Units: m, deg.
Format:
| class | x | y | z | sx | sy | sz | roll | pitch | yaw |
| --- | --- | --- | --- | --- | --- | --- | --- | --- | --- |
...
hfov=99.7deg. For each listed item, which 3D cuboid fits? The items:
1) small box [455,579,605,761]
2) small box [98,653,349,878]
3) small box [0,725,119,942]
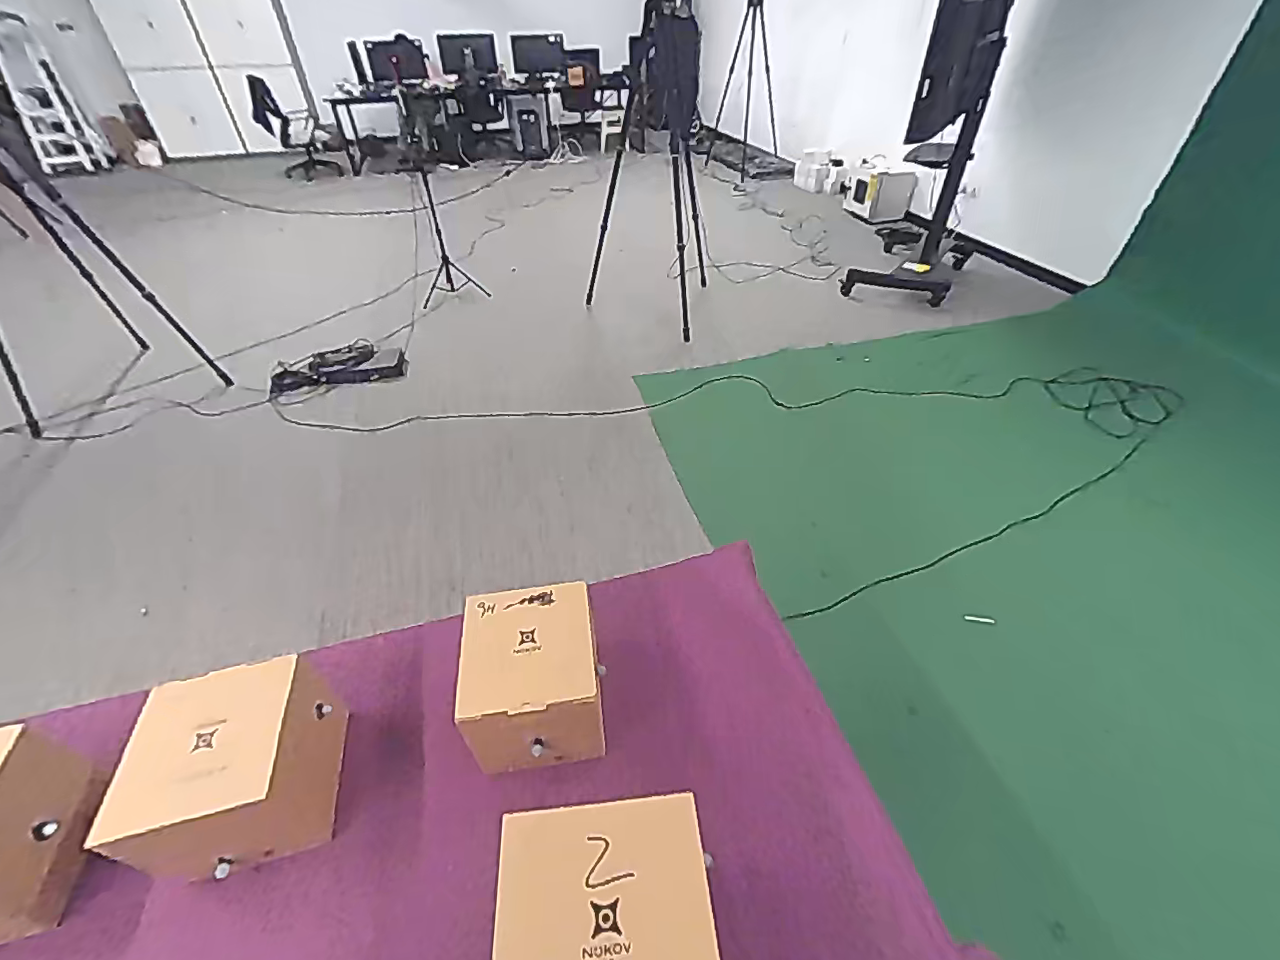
| class | x | y | z | sx | sy | sz | roll | pitch | yaw |
| --- | --- | --- | --- | --- | --- | --- | --- | --- | --- |
| small box | -0.142 | 0.264 | 0.741 | 0.168 | 0.176 | 0.179 | -7 | 43 | -6 |
| small box | -0.482 | 0.348 | 0.665 | 0.168 | 0.176 | 0.179 | -12 | 43 | -9 |
| small box | -0.756 | 0.408 | 0.606 | 0.179 | 0.176 | 0.168 | -11 | 42 | -10 |
